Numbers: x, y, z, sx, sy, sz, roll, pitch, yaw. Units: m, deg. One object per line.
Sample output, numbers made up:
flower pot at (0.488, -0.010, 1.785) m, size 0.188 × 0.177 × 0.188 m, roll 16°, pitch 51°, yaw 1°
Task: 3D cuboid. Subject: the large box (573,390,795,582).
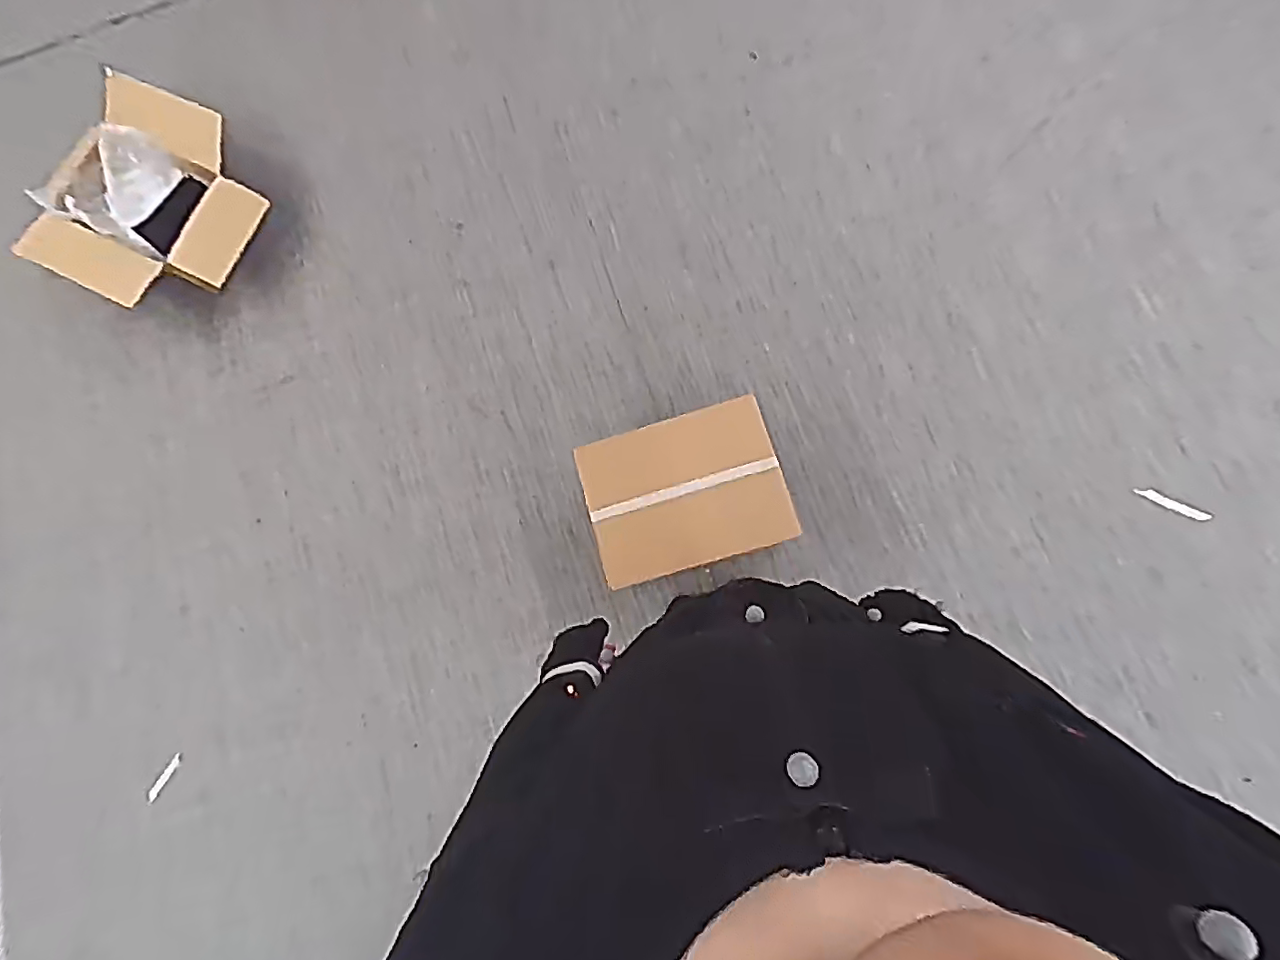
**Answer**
large box at (0.098, 0.035, 1.273) m, size 0.408 × 0.320 × 0.320 m, roll -17°, pitch 80°, yaw 3°
